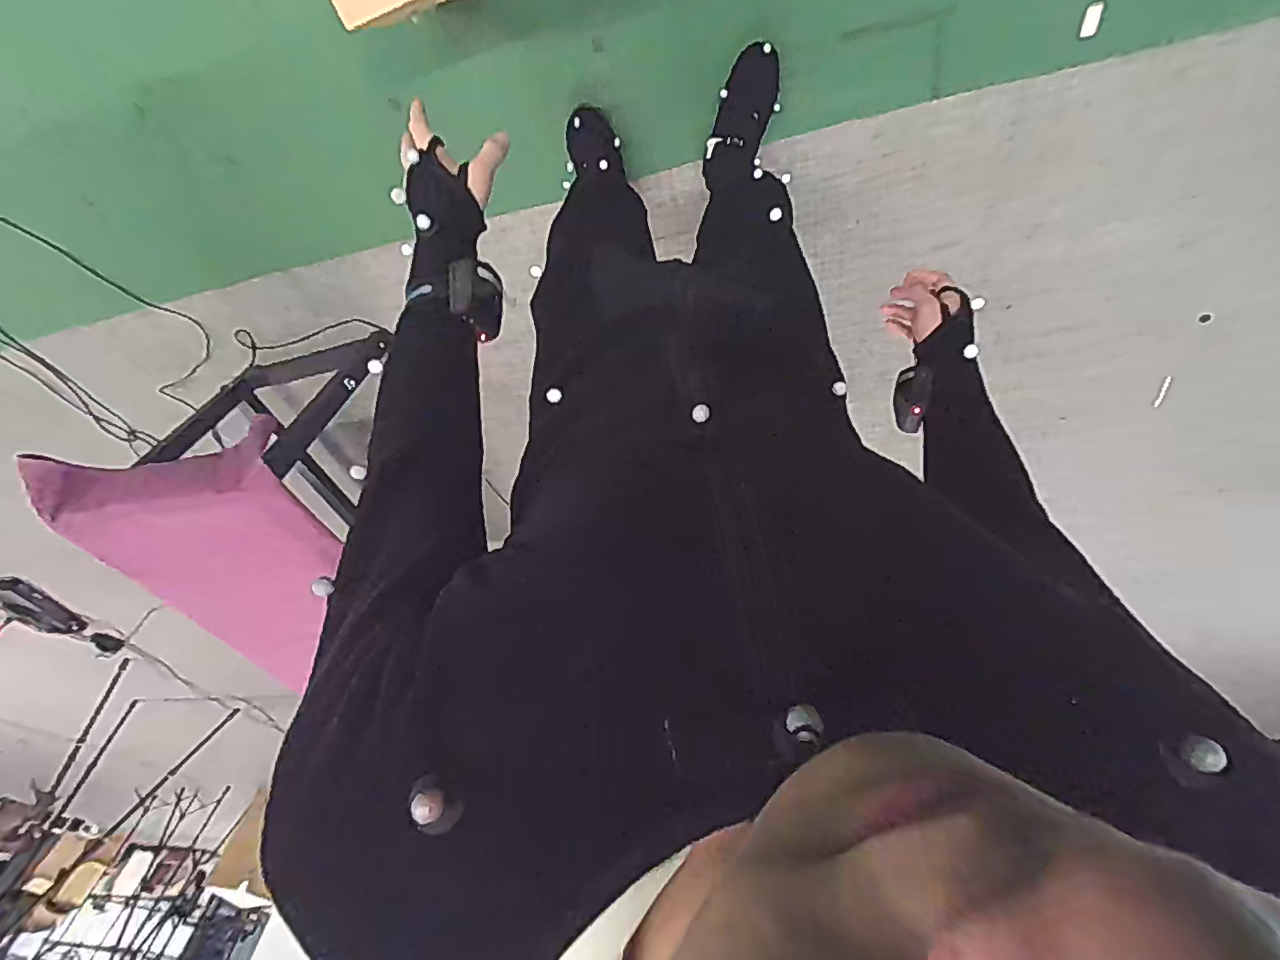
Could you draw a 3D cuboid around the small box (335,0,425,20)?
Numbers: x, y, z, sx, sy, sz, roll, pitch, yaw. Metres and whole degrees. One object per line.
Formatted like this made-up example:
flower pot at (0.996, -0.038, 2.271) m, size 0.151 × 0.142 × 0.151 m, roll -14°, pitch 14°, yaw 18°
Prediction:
small box at (-0.427, -0.890, 0.880) m, size 0.168 × 0.176 × 0.179 m, roll -8°, pitch 132°, yaw 16°
